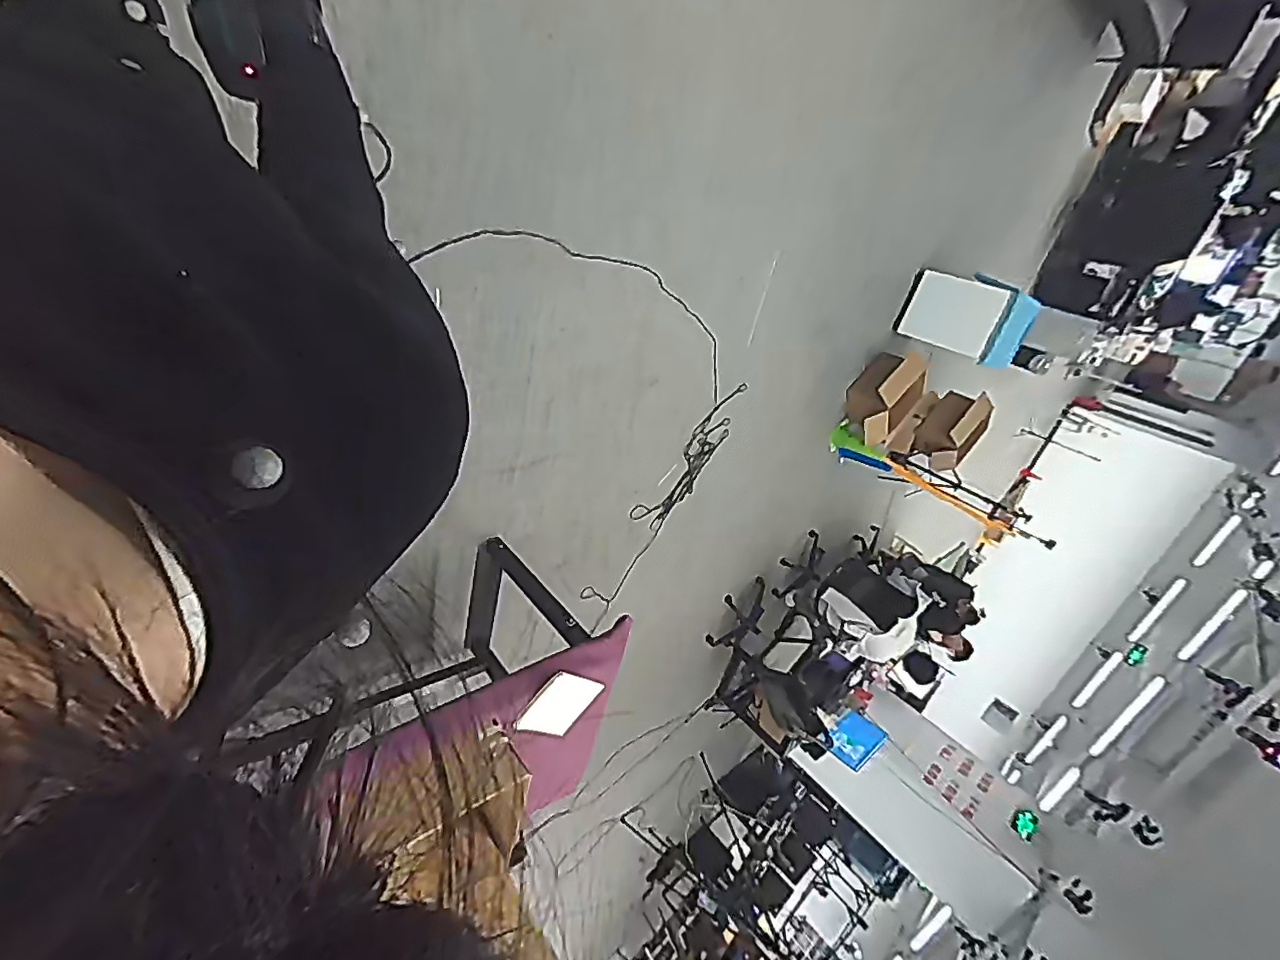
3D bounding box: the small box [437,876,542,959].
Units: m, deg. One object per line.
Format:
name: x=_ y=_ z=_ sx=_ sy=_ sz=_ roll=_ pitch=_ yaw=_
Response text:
small box: x=-0.357 y=1.081 z=1.264 sx=0.168 sy=0.176 sz=0.179 roll=-8 pitch=122 yaw=-45
